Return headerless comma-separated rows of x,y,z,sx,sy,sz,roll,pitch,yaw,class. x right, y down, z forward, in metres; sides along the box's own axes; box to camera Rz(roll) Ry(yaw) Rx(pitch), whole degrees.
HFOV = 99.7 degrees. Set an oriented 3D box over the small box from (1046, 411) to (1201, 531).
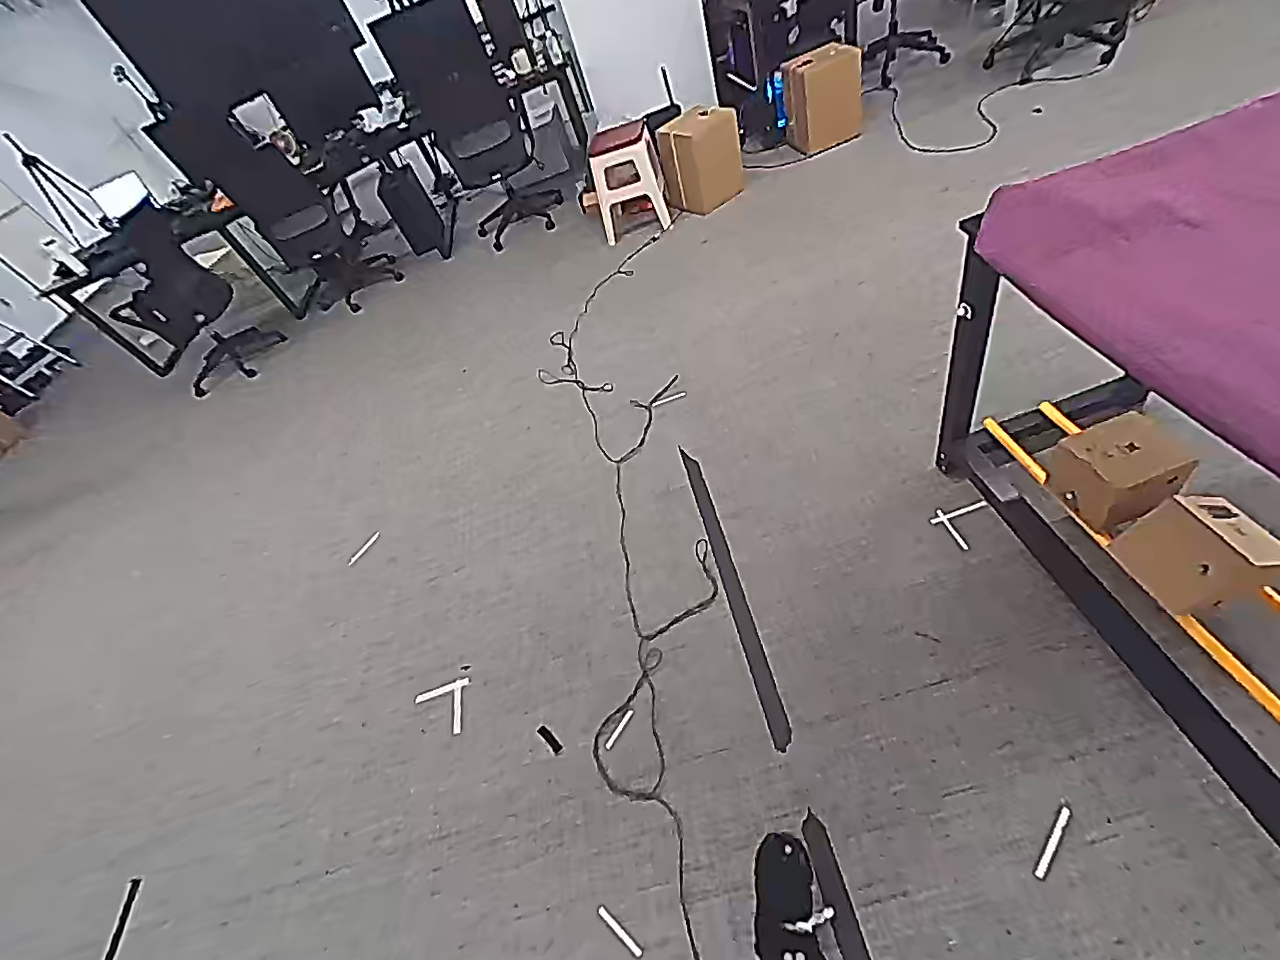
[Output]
1.062,-0.017,1.209,0.179,0.176,0.168,-23,46,4,small box
